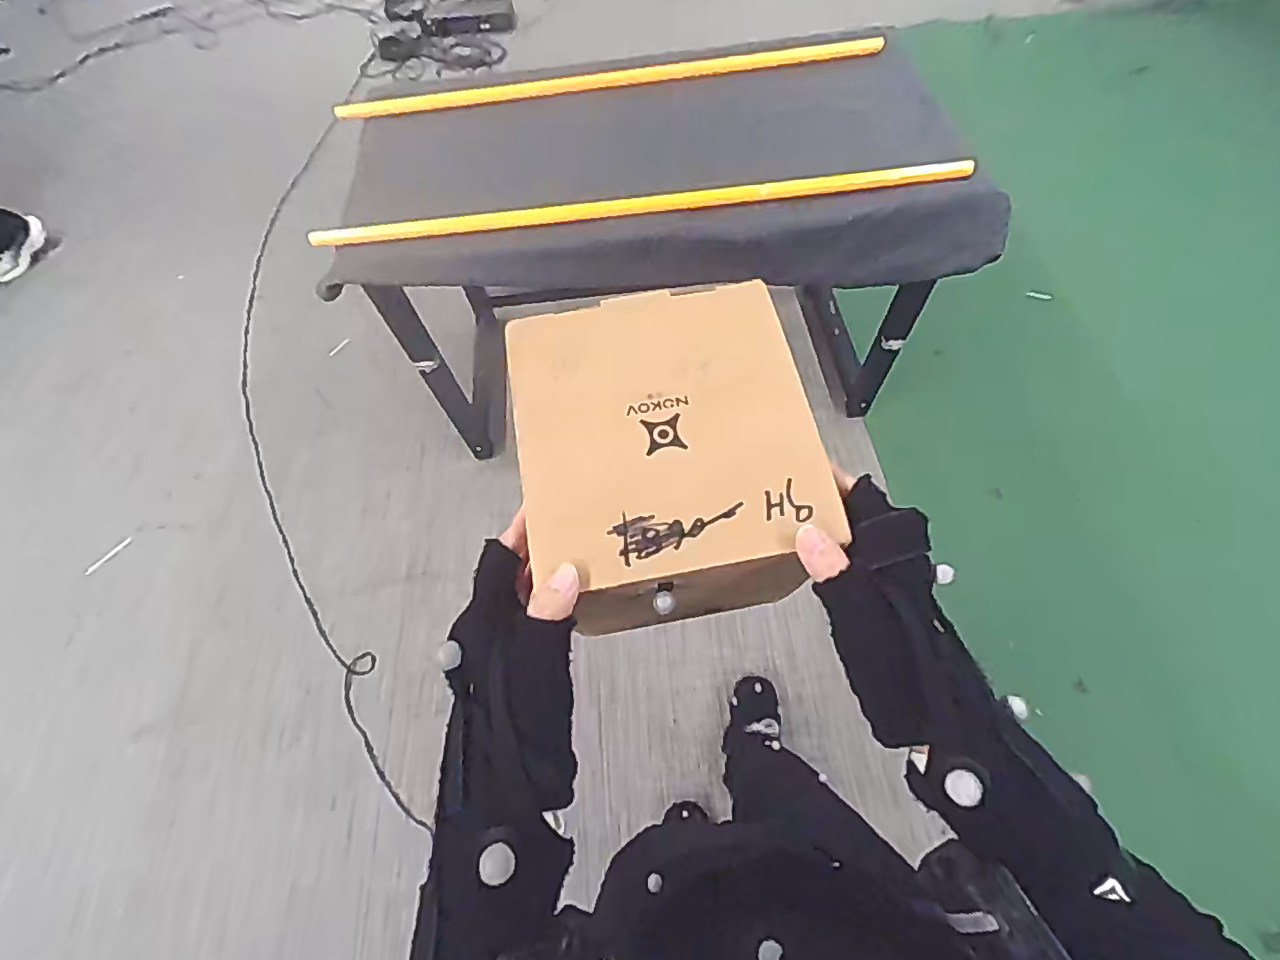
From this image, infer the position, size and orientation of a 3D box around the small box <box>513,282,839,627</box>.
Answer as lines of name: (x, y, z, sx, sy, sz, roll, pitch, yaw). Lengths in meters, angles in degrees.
small box: (0.015, -0.006, 0.389, 0.168, 0.176, 0.179, -11, 67, -1)
